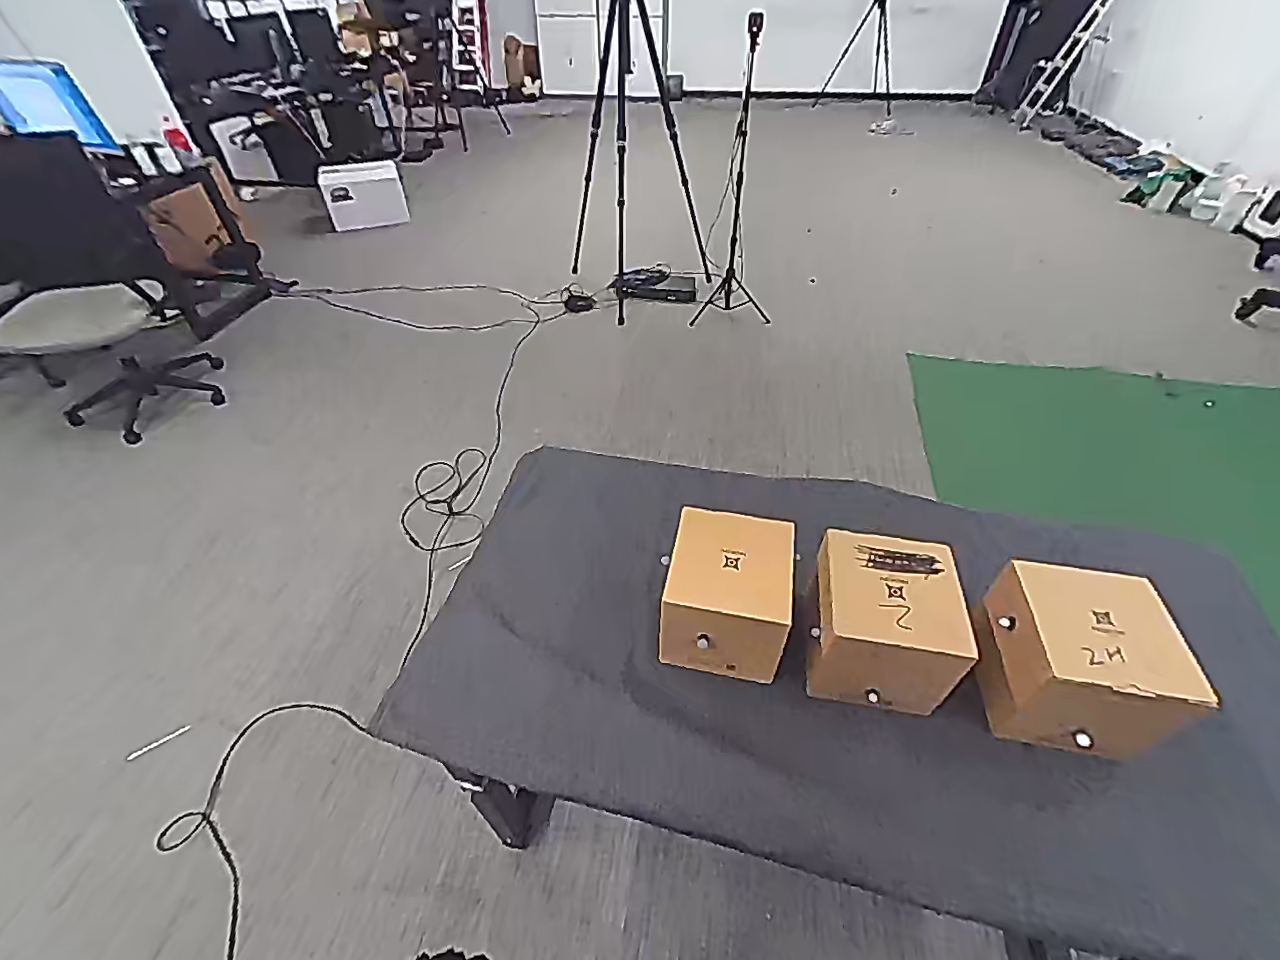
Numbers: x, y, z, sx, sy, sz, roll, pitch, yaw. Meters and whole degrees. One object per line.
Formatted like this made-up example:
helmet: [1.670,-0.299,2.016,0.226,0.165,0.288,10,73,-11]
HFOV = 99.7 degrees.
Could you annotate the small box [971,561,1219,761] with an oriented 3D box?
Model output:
small box: [0.567,0.236,0.712,0.168,0.176,0.179,7,44,10]
